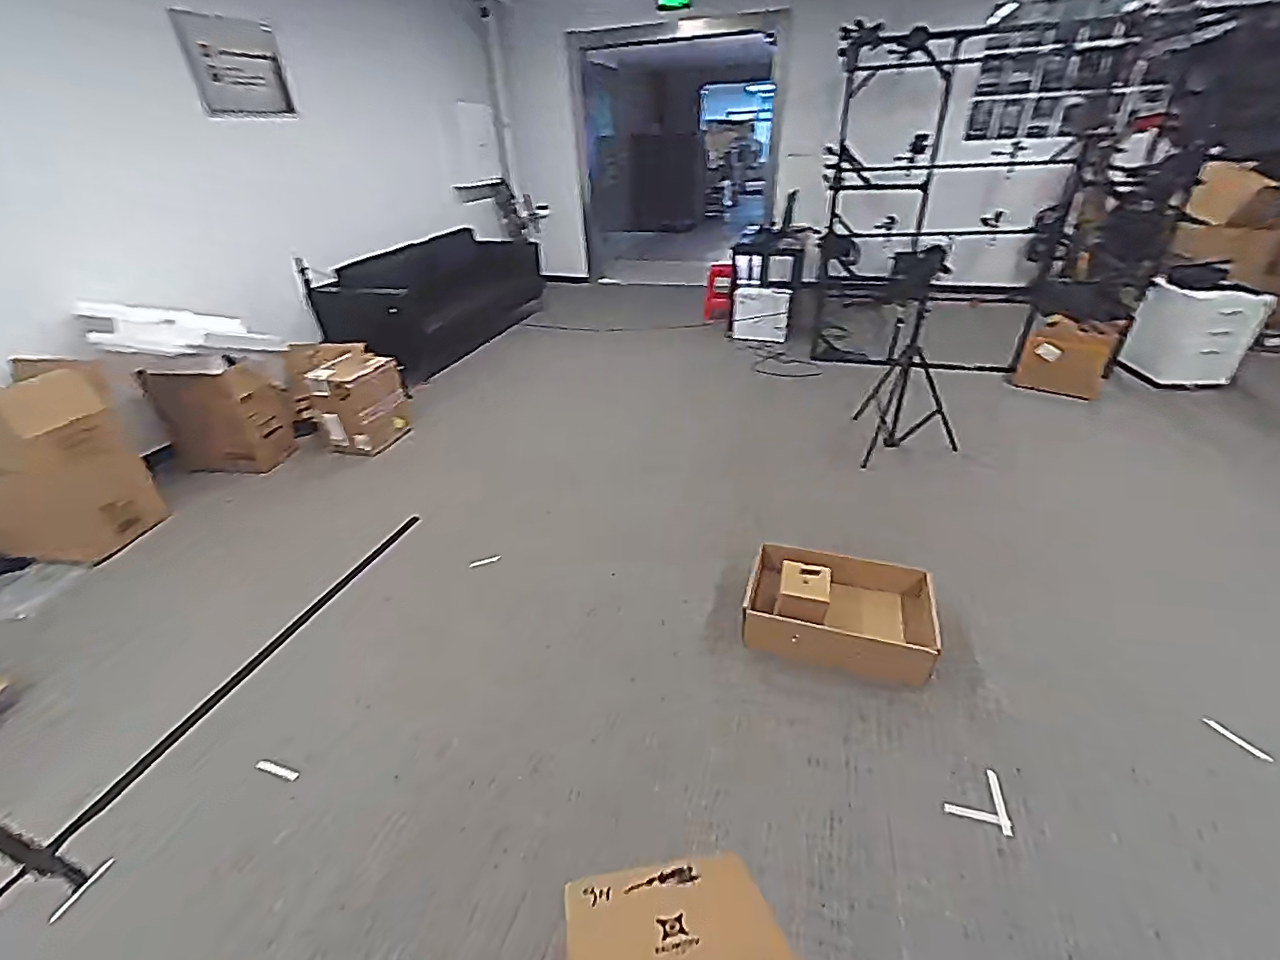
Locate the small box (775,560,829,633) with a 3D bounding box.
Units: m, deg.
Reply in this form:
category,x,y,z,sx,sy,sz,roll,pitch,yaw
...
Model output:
category,x,y,z,sx,sy,sz,roll,pitch,yaw
small box,0.586,0.420,1.960,0.168,0.176,0.179,8,34,15
